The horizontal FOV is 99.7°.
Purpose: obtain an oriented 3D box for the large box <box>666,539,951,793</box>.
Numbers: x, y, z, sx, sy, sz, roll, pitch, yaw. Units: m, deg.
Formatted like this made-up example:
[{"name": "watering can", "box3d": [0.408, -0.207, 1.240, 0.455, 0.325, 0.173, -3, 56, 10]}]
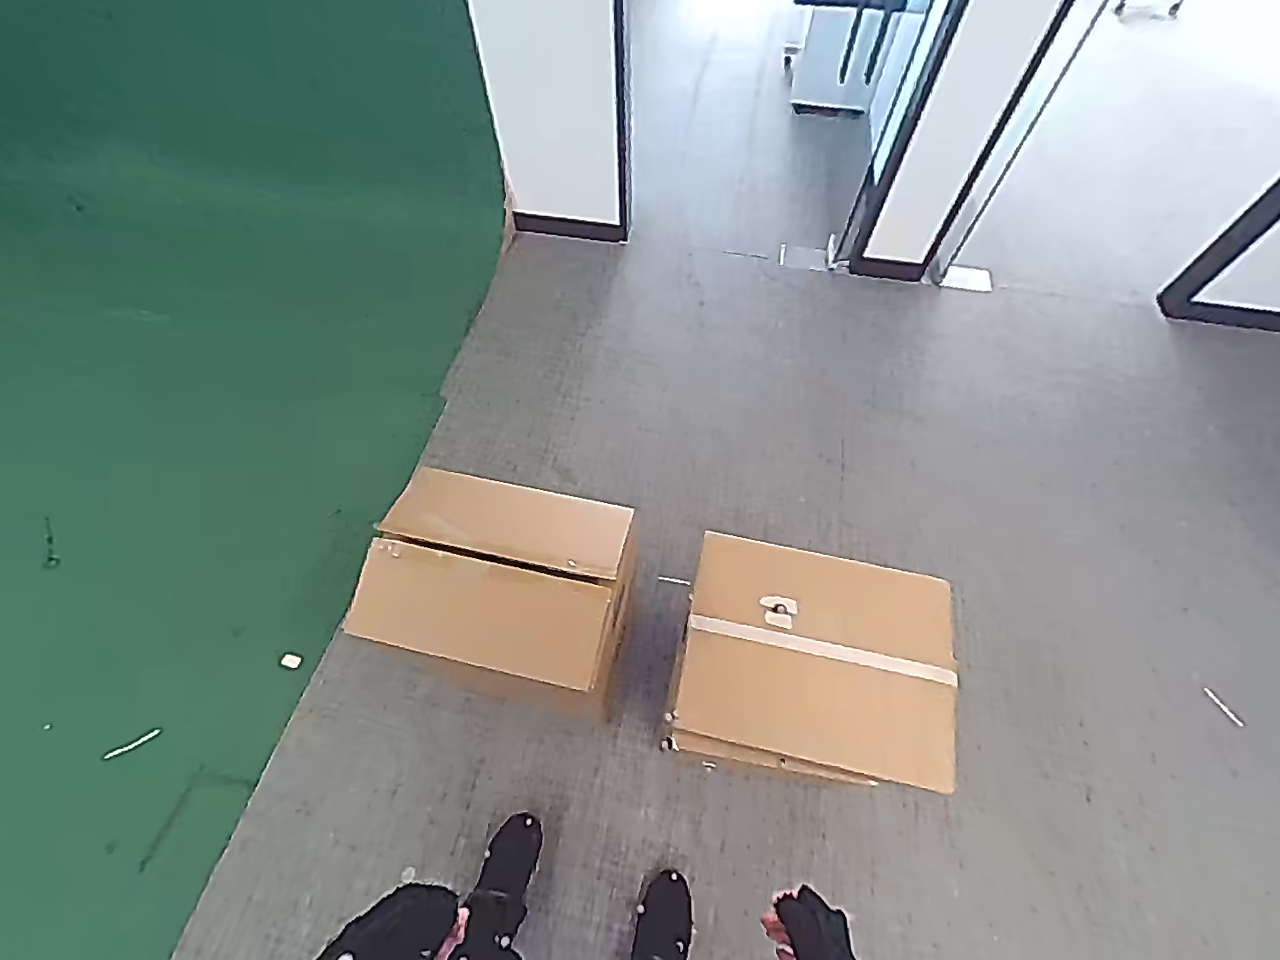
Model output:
[{"name": "large box", "box3d": [0.272, 0.330, 0.963, 0.408, 0.320, 0.320, 10, 64, 7]}]
